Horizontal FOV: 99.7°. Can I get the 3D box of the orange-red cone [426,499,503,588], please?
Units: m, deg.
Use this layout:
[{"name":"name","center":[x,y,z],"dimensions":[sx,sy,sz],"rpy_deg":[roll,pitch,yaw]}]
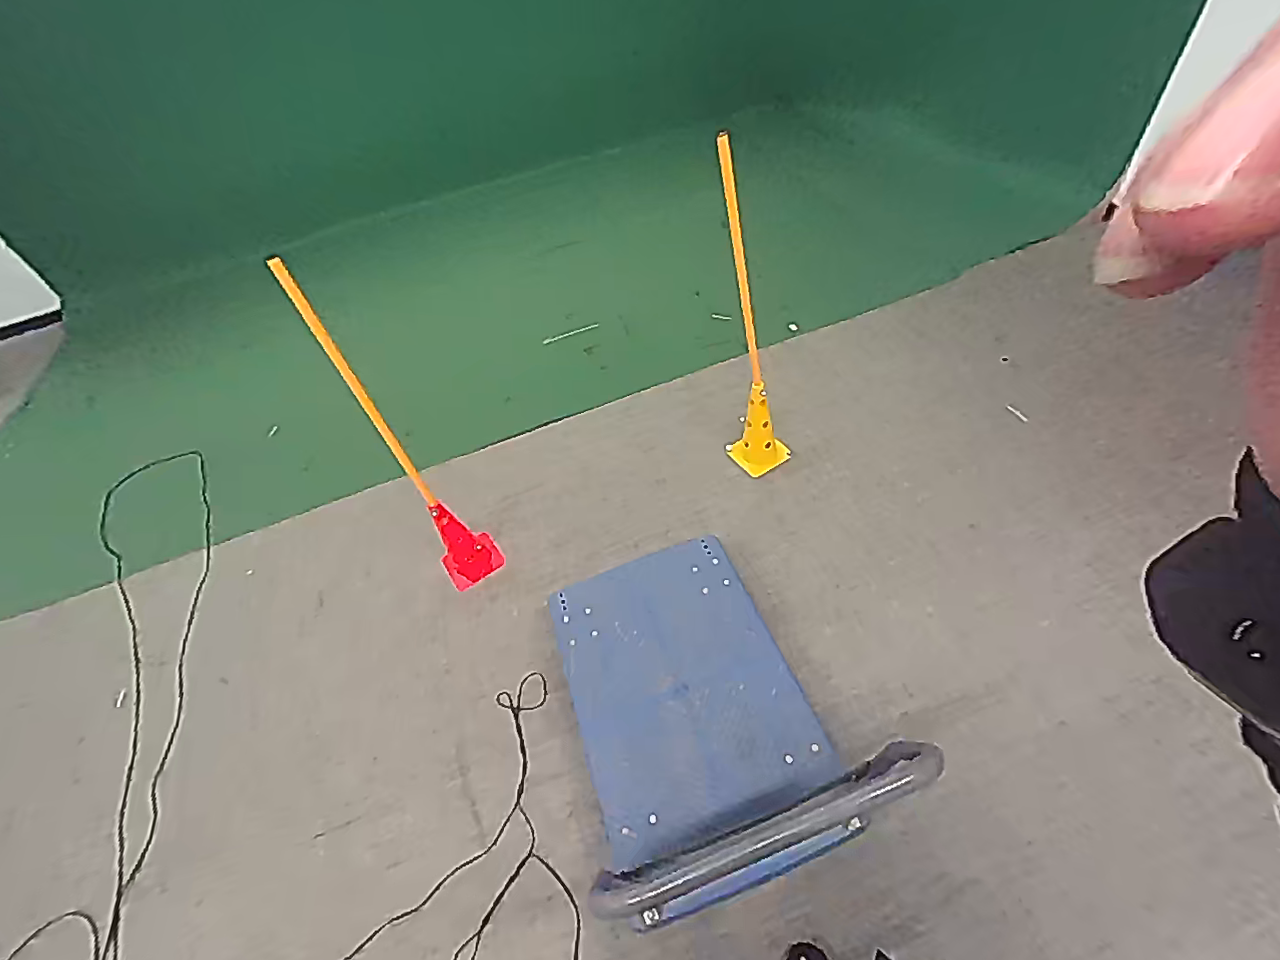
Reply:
[{"name":"orange-red cone","center":[-0.658,0.190,1.905],"dimensions":[0.199,0.360,0.198],"rpy_deg":[-33,51,-15]}]
